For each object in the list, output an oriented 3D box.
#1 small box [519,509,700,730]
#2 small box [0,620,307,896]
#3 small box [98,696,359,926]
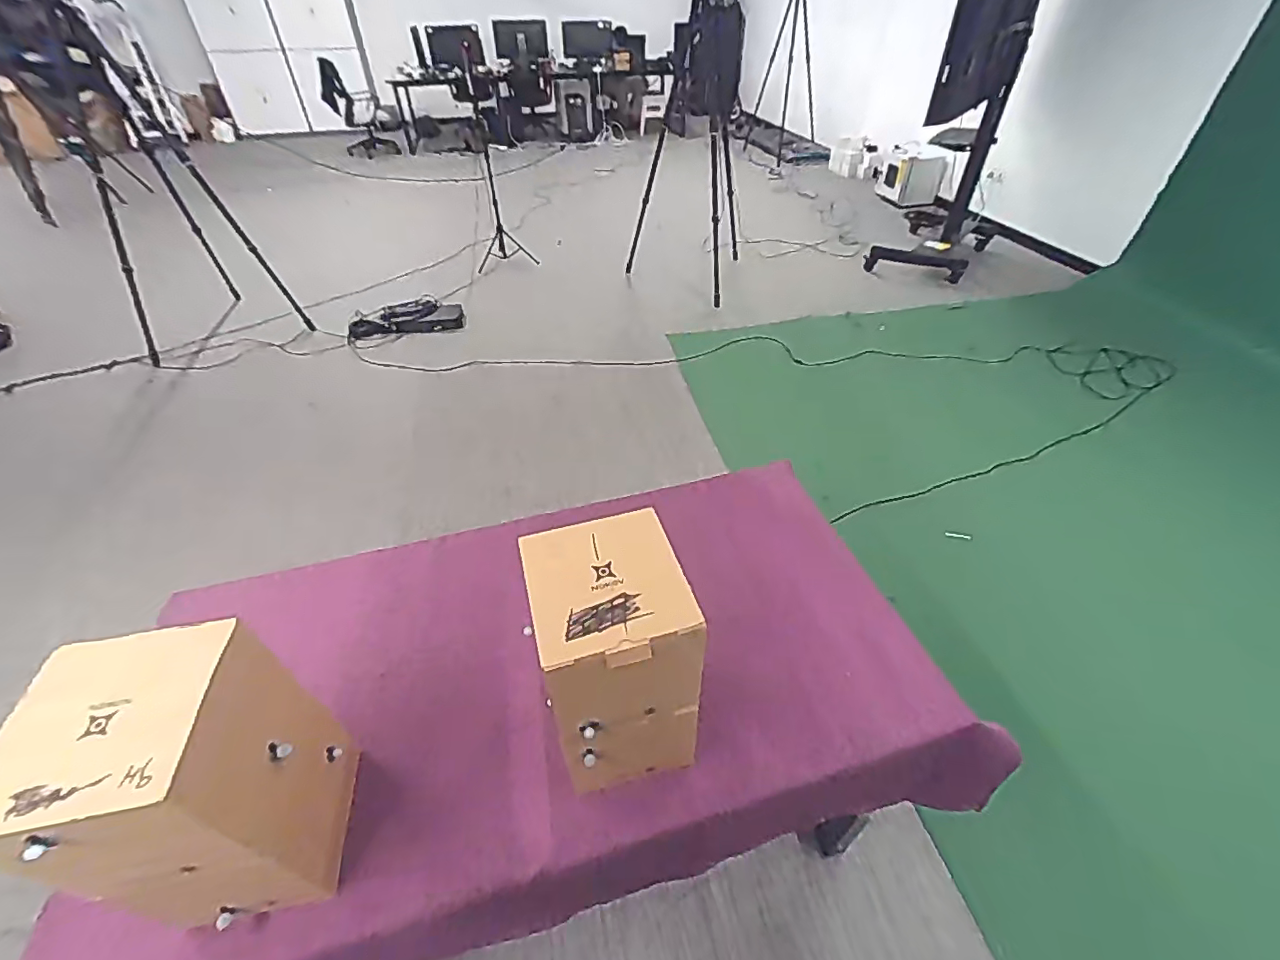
[{"bbox_3d":[-0.036,0.166,0.632,0.168,0.176,0.179,-12,42,-12],"label":"small box"},{"bbox_3d":[-0.463,0.270,0.533,0.168,0.176,0.179,-10,42,-6],"label":"small box"},{"bbox_3d":[-0.458,0.392,0.645,0.168,0.176,0.179,-9,43,-7],"label":"small box"}]
